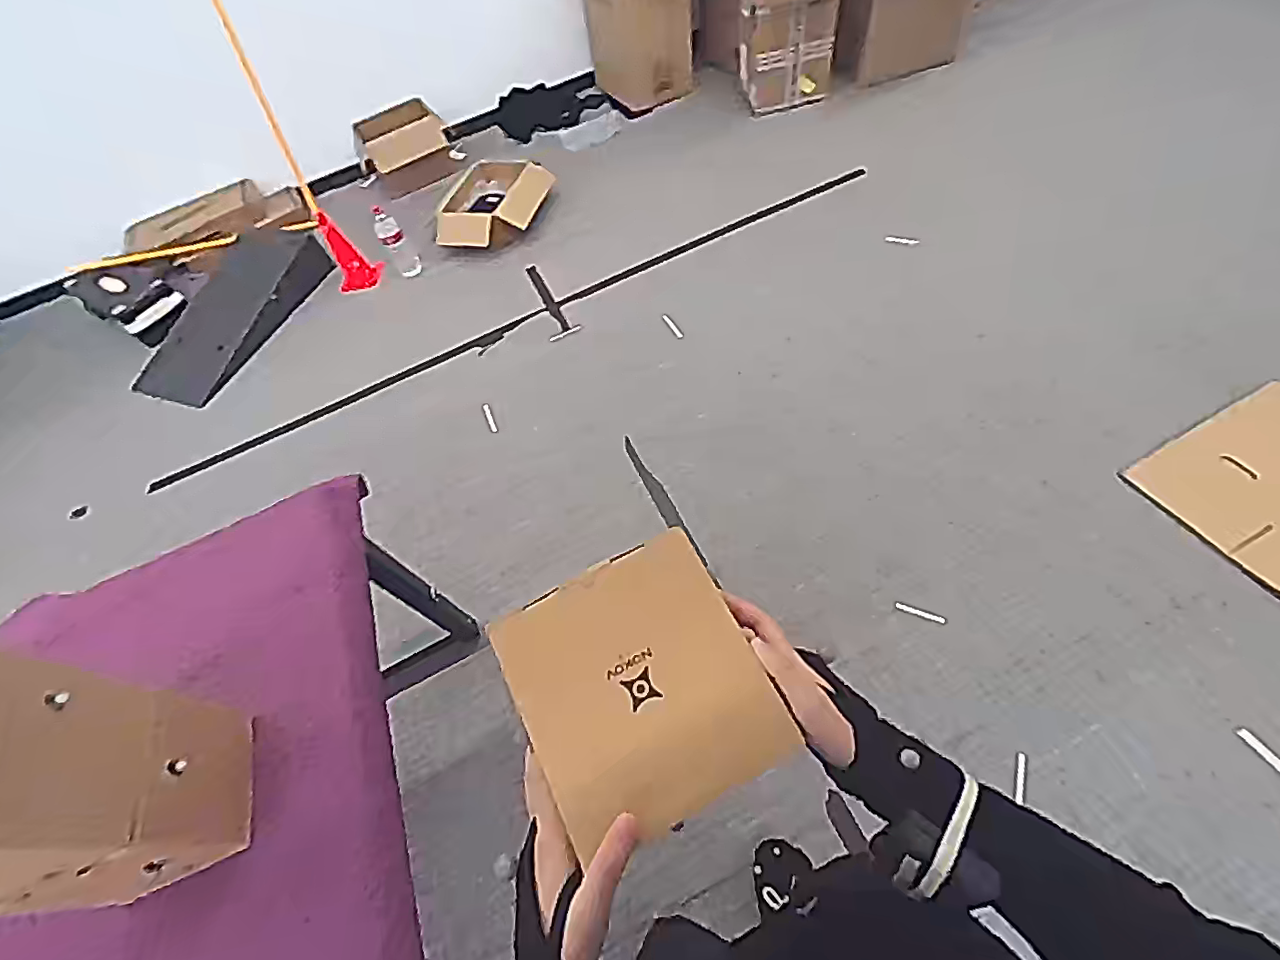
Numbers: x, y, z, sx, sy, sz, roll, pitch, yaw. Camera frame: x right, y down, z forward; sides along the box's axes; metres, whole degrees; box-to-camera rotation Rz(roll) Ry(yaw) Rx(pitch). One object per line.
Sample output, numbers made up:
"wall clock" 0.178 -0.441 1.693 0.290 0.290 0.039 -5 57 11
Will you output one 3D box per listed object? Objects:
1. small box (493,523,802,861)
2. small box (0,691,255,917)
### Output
"small box" 0.005 0.166 0.453 0.168 0.176 0.179 -26 68 -8
"small box" -0.615 0.393 0.667 0.168 0.176 0.179 -24 55 -6
